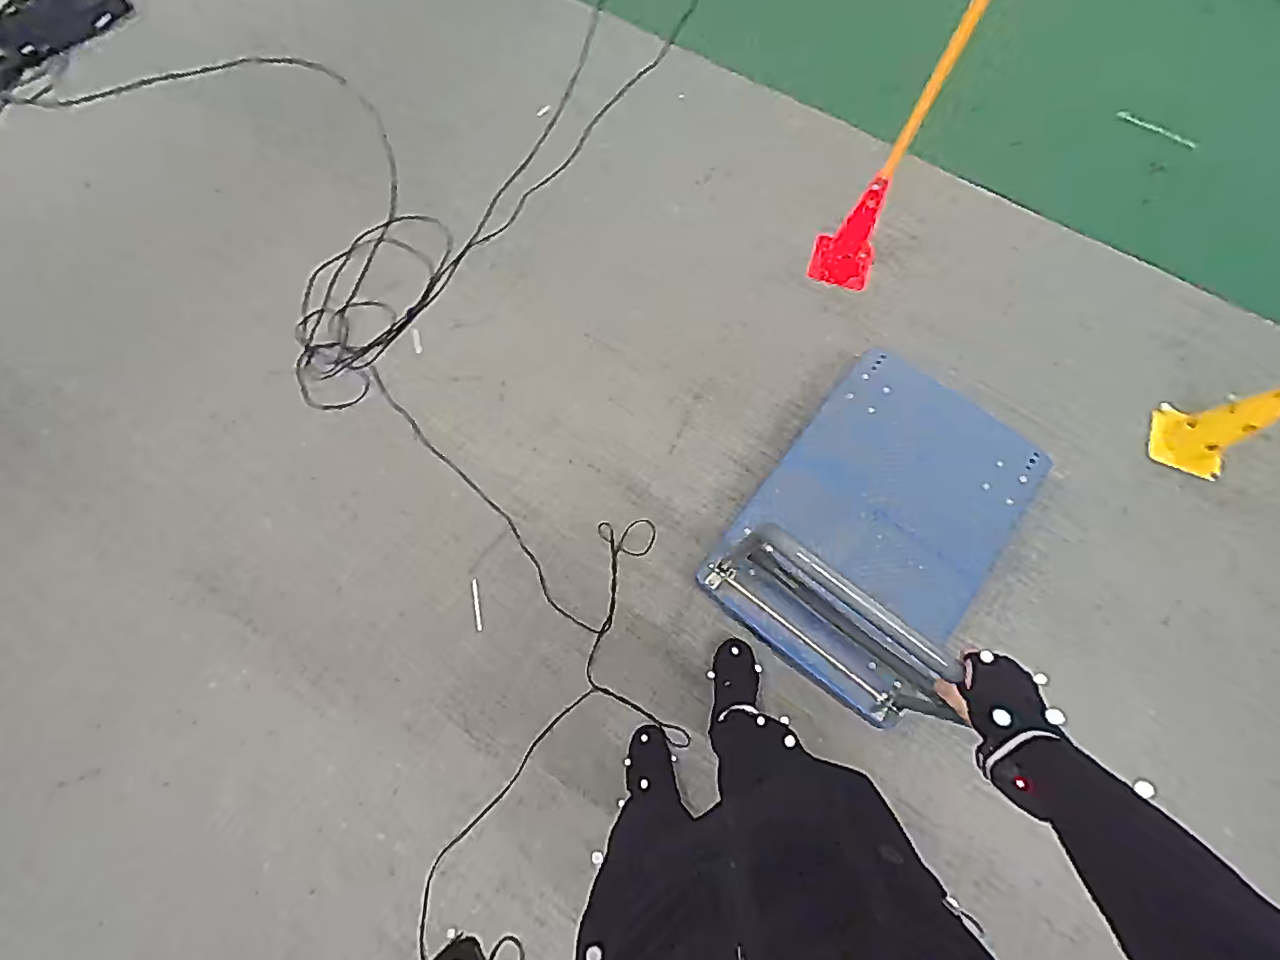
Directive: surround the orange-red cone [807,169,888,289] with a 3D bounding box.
[{"bbox_3d":[0.686,-0.808,1.699,0.199,0.360,0.198,18,71,7],"label":"orange-red cone"}]
